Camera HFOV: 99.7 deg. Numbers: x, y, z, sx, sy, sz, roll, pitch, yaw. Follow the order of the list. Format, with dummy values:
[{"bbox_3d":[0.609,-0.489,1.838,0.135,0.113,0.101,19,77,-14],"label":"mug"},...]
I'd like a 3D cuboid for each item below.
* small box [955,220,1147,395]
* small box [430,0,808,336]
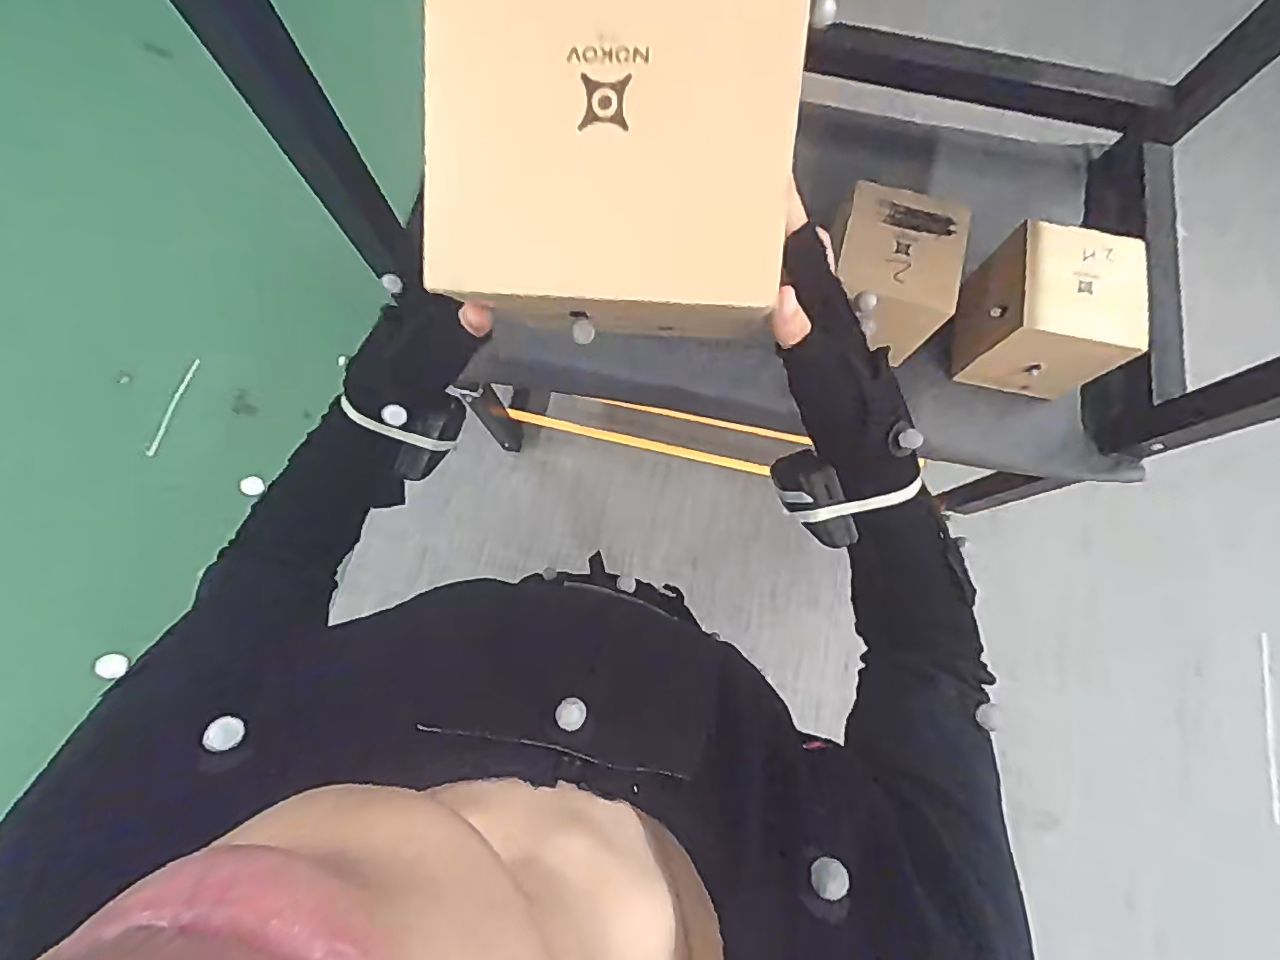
[{"bbox_3d":[0.599,-0.246,0.809,0.168,0.176,0.179,12,75,2],"label":"small box"},{"bbox_3d":[-0.004,-0.182,0.315,0.168,0.176,0.179,5,99,6],"label":"small box"}]
